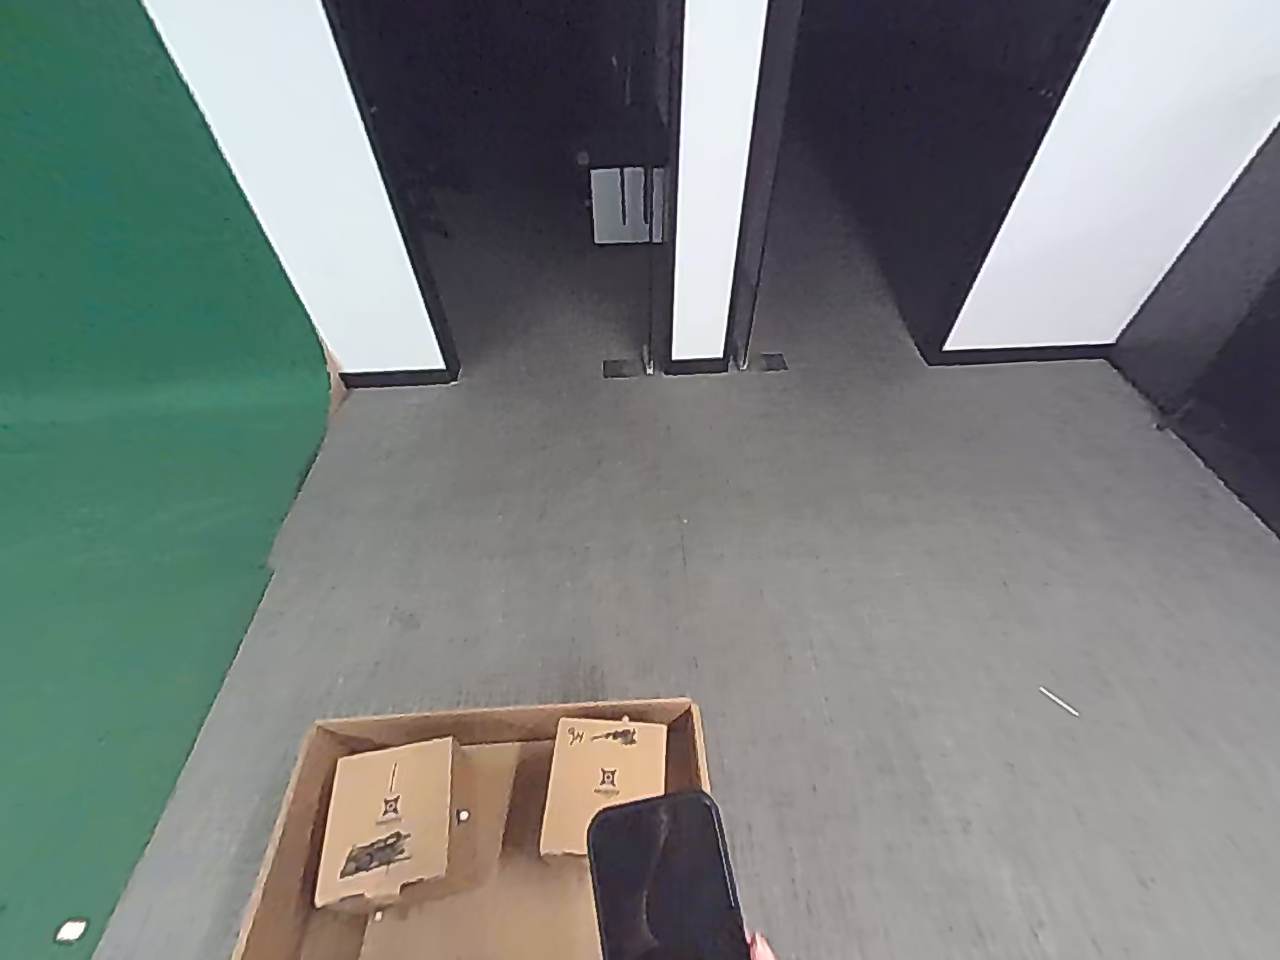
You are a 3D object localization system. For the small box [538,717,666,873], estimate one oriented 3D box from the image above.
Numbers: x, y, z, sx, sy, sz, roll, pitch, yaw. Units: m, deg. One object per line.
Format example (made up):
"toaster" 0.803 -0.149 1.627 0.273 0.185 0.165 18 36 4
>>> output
"small box" -0.046 0.482 0.824 0.168 0.176 0.179 3 50 3
